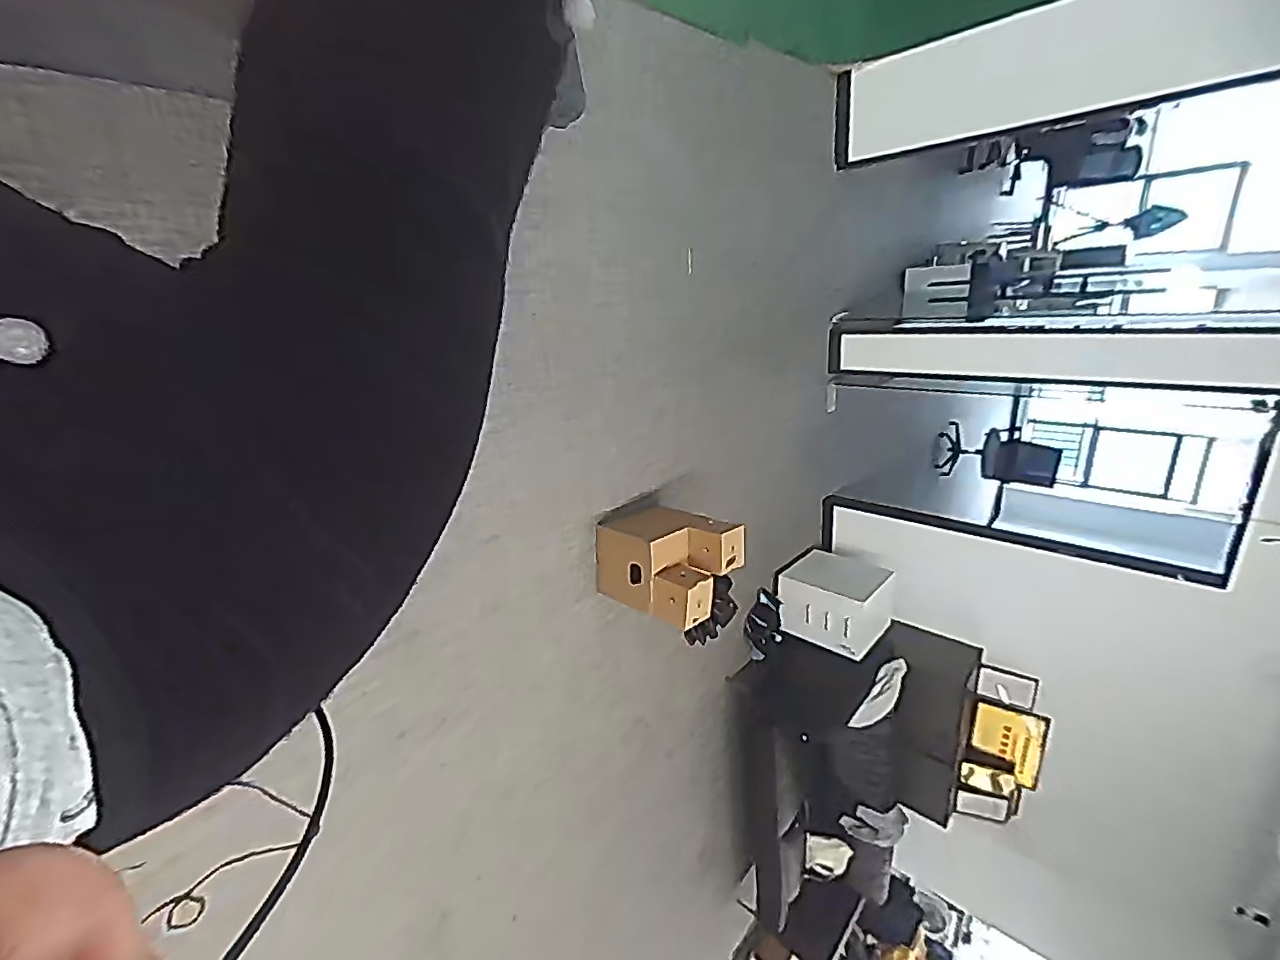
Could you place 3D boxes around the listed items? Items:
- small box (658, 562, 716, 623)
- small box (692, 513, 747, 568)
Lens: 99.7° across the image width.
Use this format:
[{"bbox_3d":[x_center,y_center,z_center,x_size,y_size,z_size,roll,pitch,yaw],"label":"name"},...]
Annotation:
[{"bbox_3d":[0.184,0.434,2.129,0.168,0.176,0.179,-16,112,-47],"label":"small box"},{"bbox_3d":[0.326,0.246,2.246,0.168,0.176,0.179,-15,108,-46],"label":"small box"}]
